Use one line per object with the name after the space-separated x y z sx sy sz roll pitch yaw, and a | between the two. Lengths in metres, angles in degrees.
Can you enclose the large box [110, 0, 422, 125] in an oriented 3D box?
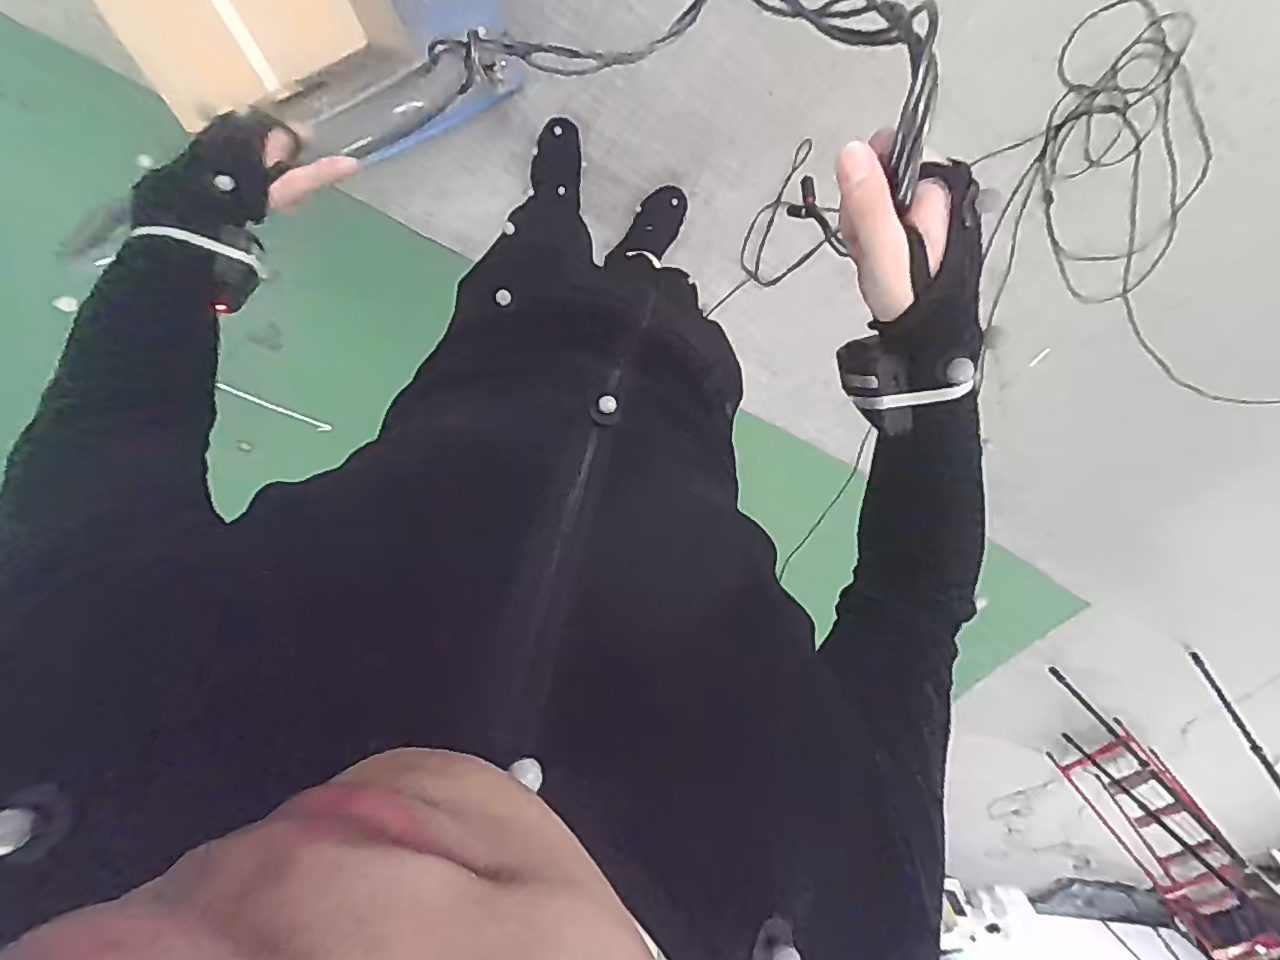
-0.598 -0.812 0.799 0.320 0.320 0.408 -20 124 6 | large box
